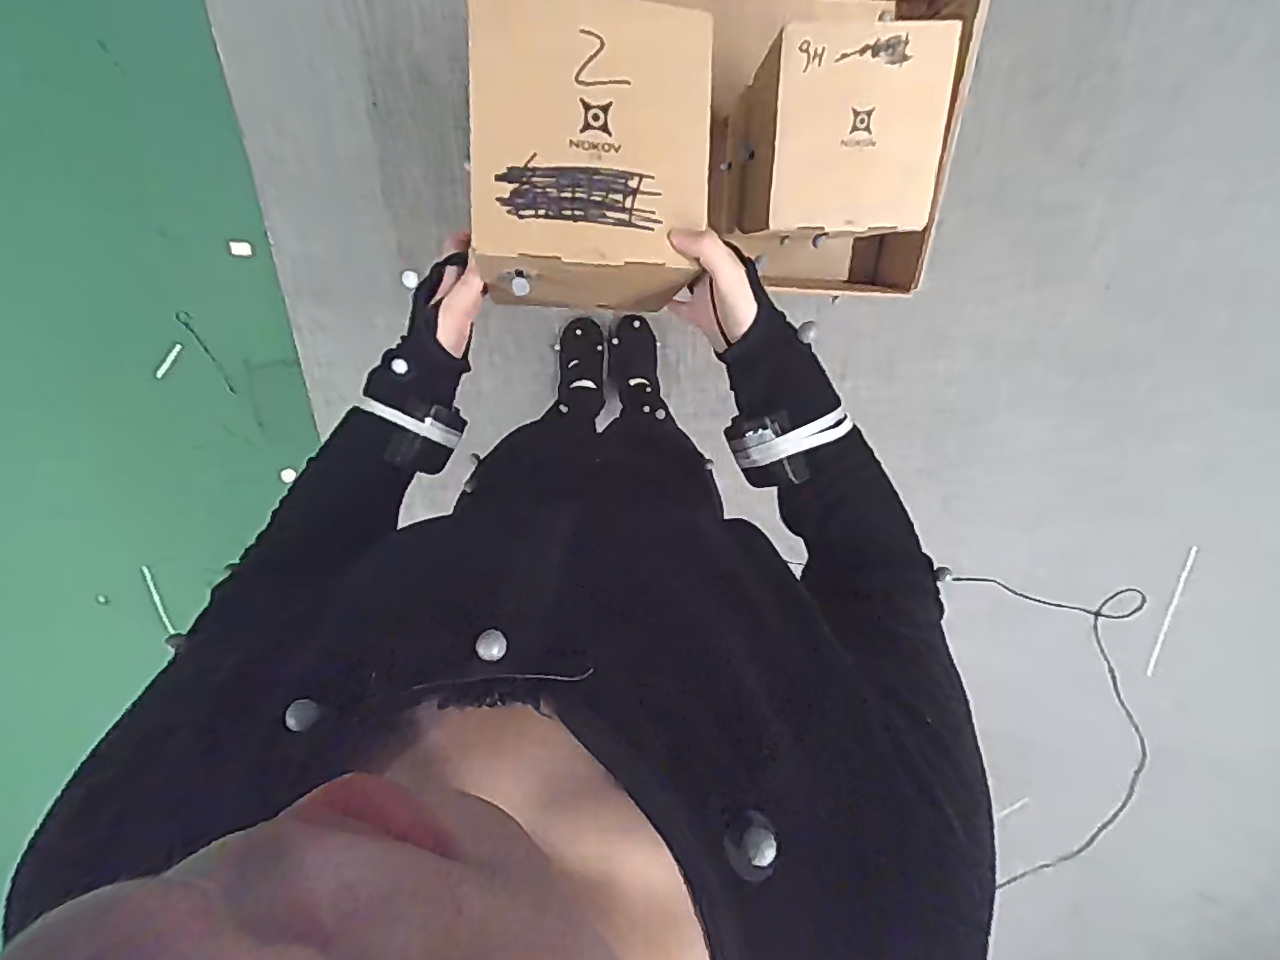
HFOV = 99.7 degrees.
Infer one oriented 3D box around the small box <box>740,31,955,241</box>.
[{"bbox_3d":[0.211,-0.368,0.609,0.168,0.176,0.179,1,113,0],"label":"small box"}]
